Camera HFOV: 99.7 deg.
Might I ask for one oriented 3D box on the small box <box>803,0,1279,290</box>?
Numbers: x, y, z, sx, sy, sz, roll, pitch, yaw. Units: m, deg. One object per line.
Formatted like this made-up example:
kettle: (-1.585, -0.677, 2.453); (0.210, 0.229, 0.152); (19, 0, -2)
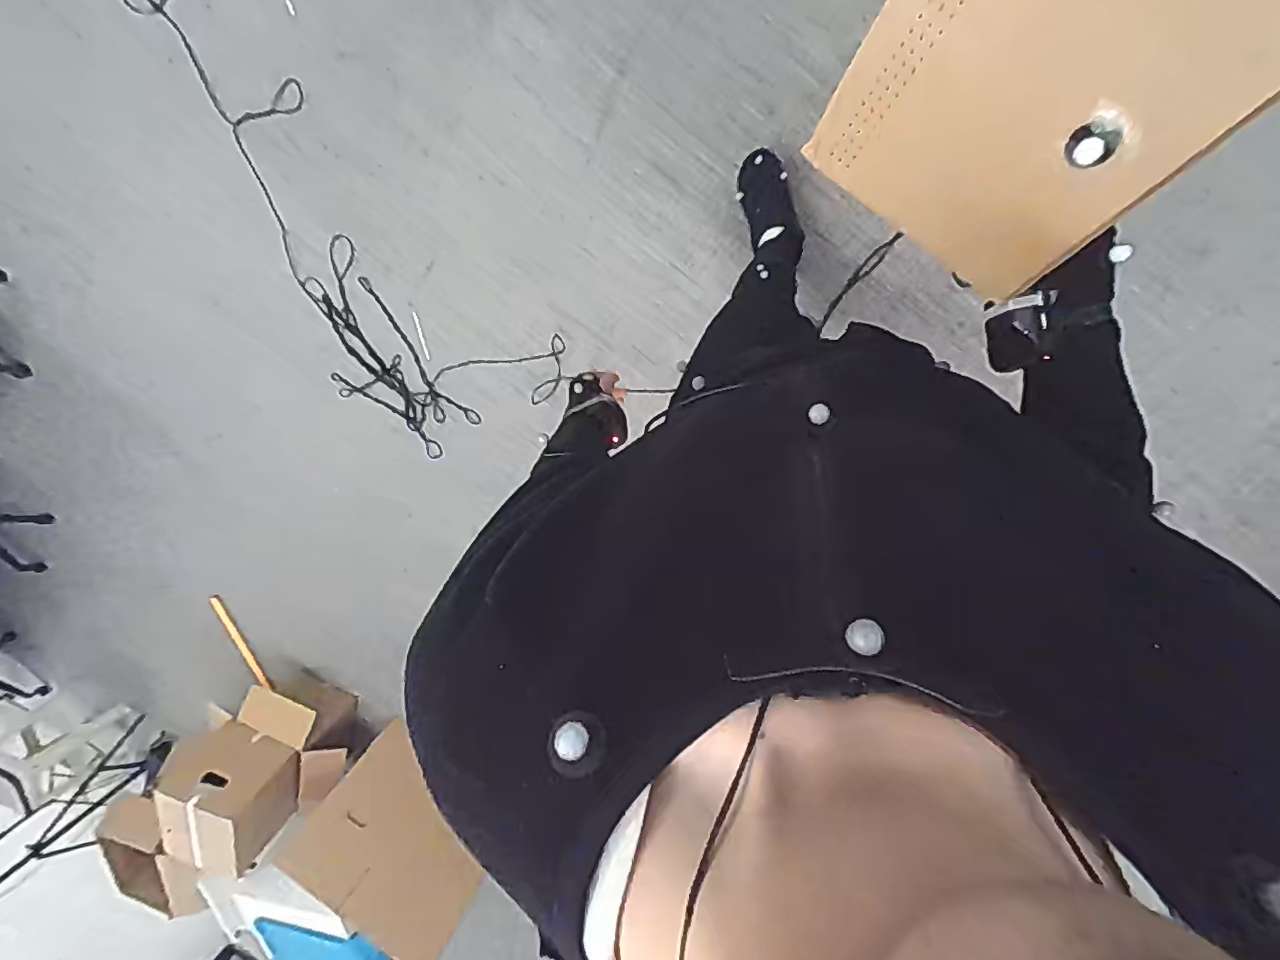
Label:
small box: (0.223, -0.251, 0.292); (0.176, 0.168, 0.179); (37, 155, -1)
